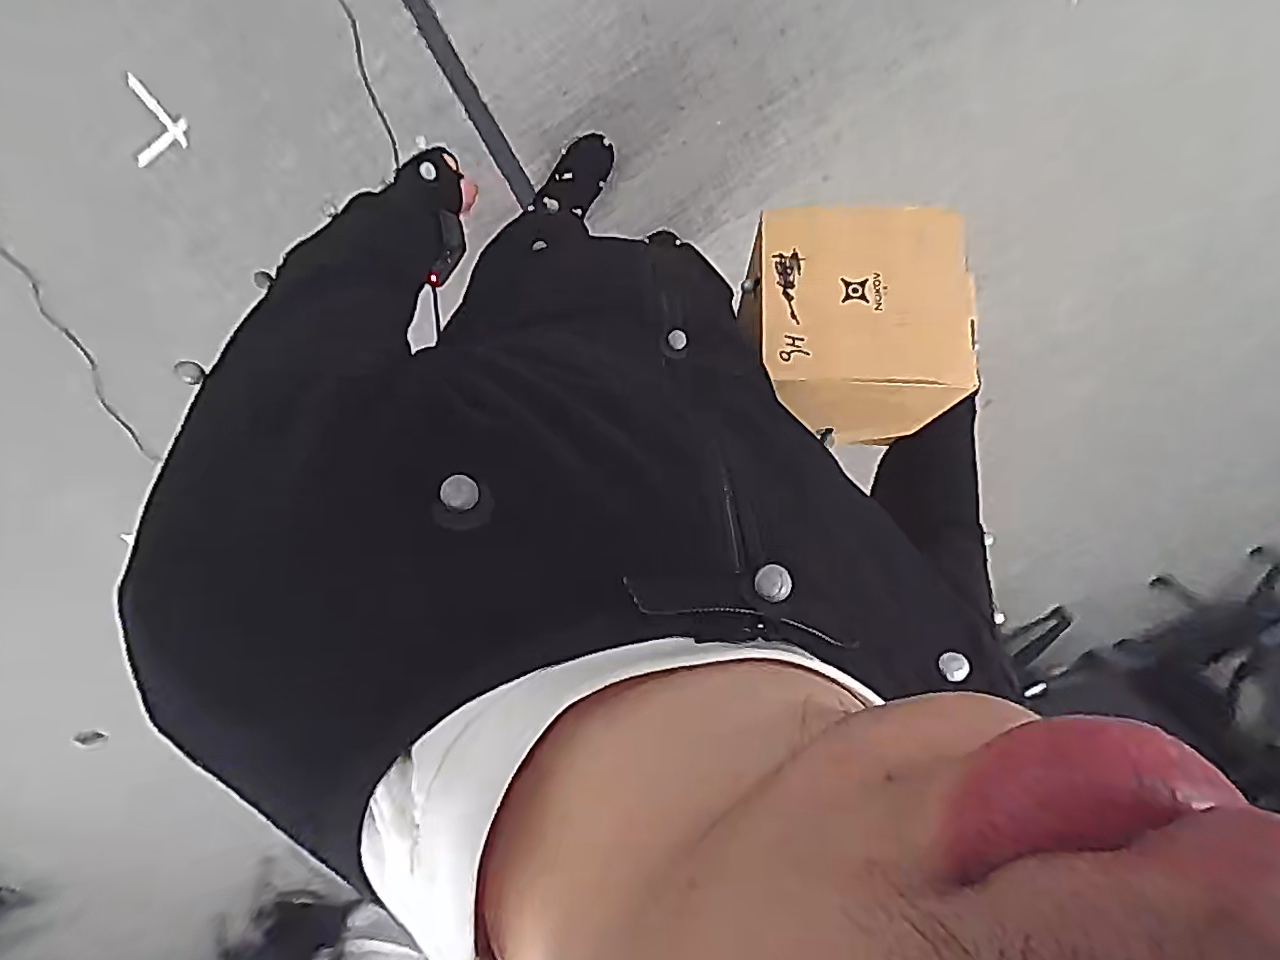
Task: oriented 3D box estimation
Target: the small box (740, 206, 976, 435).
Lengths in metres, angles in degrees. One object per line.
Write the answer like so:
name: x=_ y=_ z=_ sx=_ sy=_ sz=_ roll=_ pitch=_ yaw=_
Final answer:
small box: x=0.201 y=-0.149 z=0.549 sx=0.179 sy=0.176 sz=0.168 roll=1 pitch=76 yaw=4
